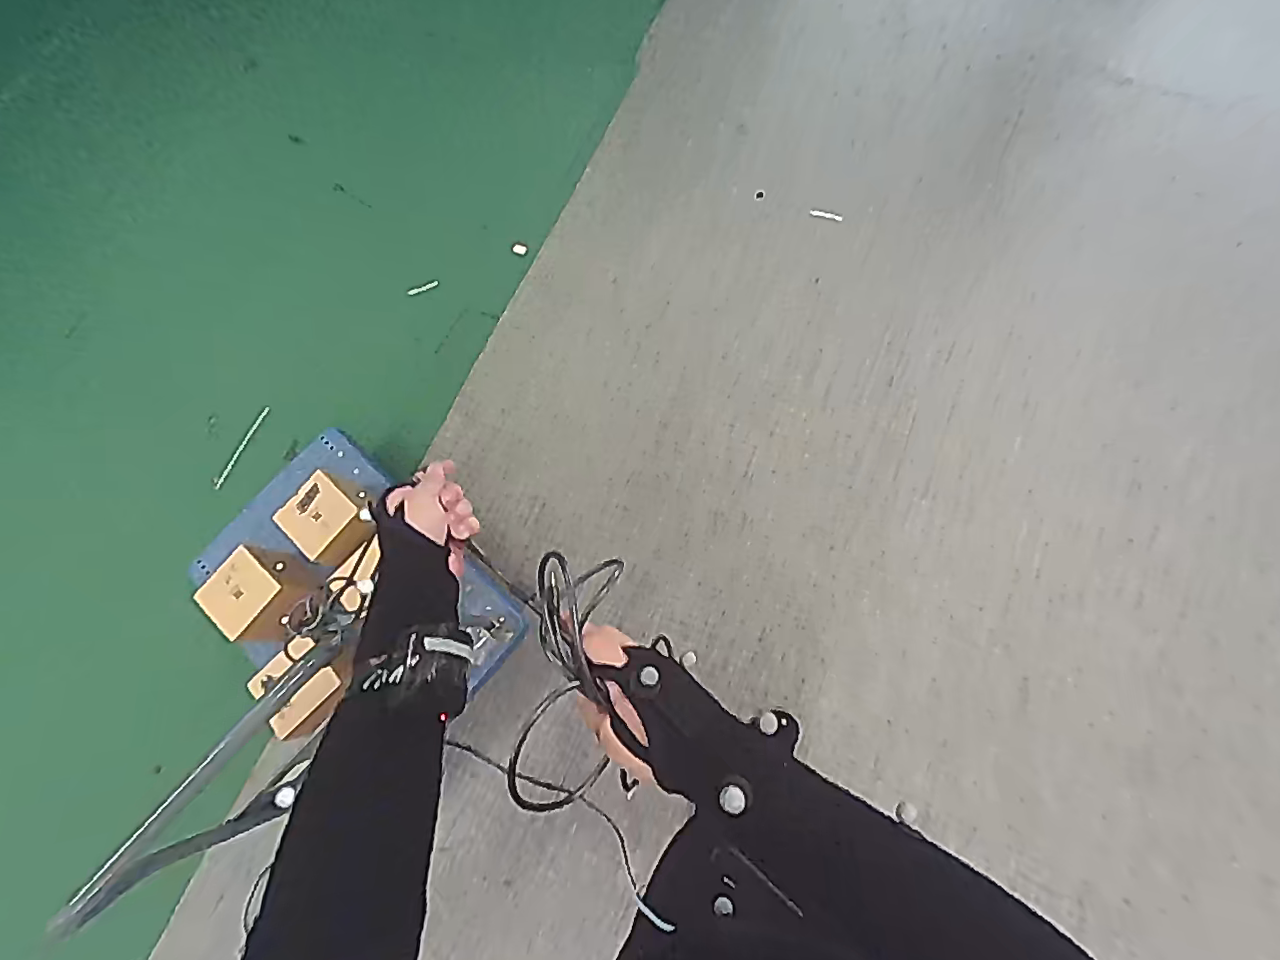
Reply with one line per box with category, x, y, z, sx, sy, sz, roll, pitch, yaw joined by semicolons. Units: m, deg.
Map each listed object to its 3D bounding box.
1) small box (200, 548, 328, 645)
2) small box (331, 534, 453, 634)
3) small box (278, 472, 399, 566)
small box;-0.949;0.299;1.382;0.179;0.176;0.168;37;82;17
small box;-0.604;0.263;1.335;0.179;0.176;0.168;42;84;17
small box;-0.777;0.111;1.407;0.179;0.176;0.168;38;84;17
